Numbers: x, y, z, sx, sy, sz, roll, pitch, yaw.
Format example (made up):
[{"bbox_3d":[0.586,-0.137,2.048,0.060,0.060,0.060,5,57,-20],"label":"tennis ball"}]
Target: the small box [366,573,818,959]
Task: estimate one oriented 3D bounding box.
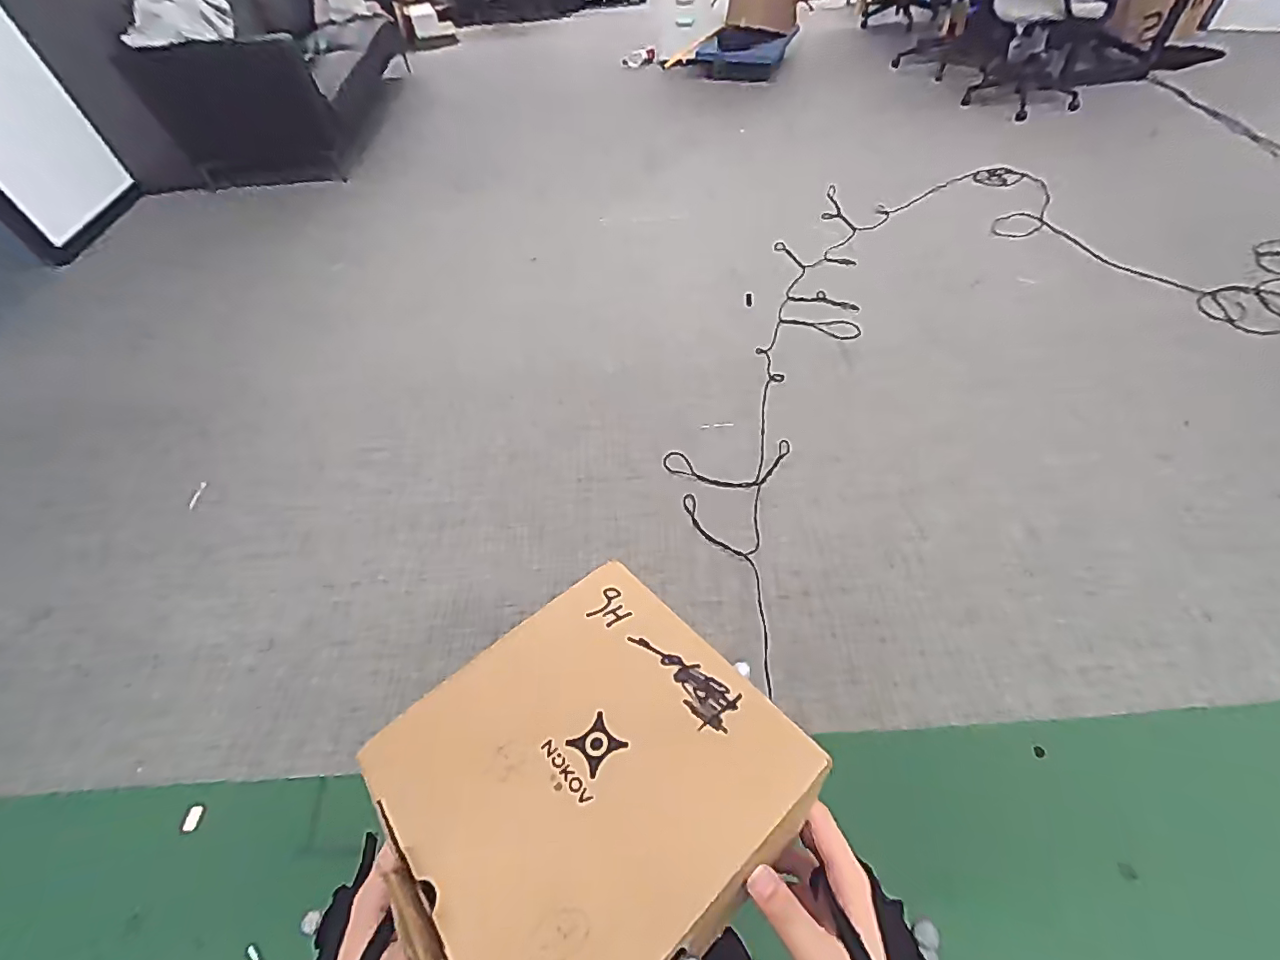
[{"bbox_3d":[-0.019,0.199,0.326,0.179,0.176,0.168,-35,51,-23],"label":"small box"}]
